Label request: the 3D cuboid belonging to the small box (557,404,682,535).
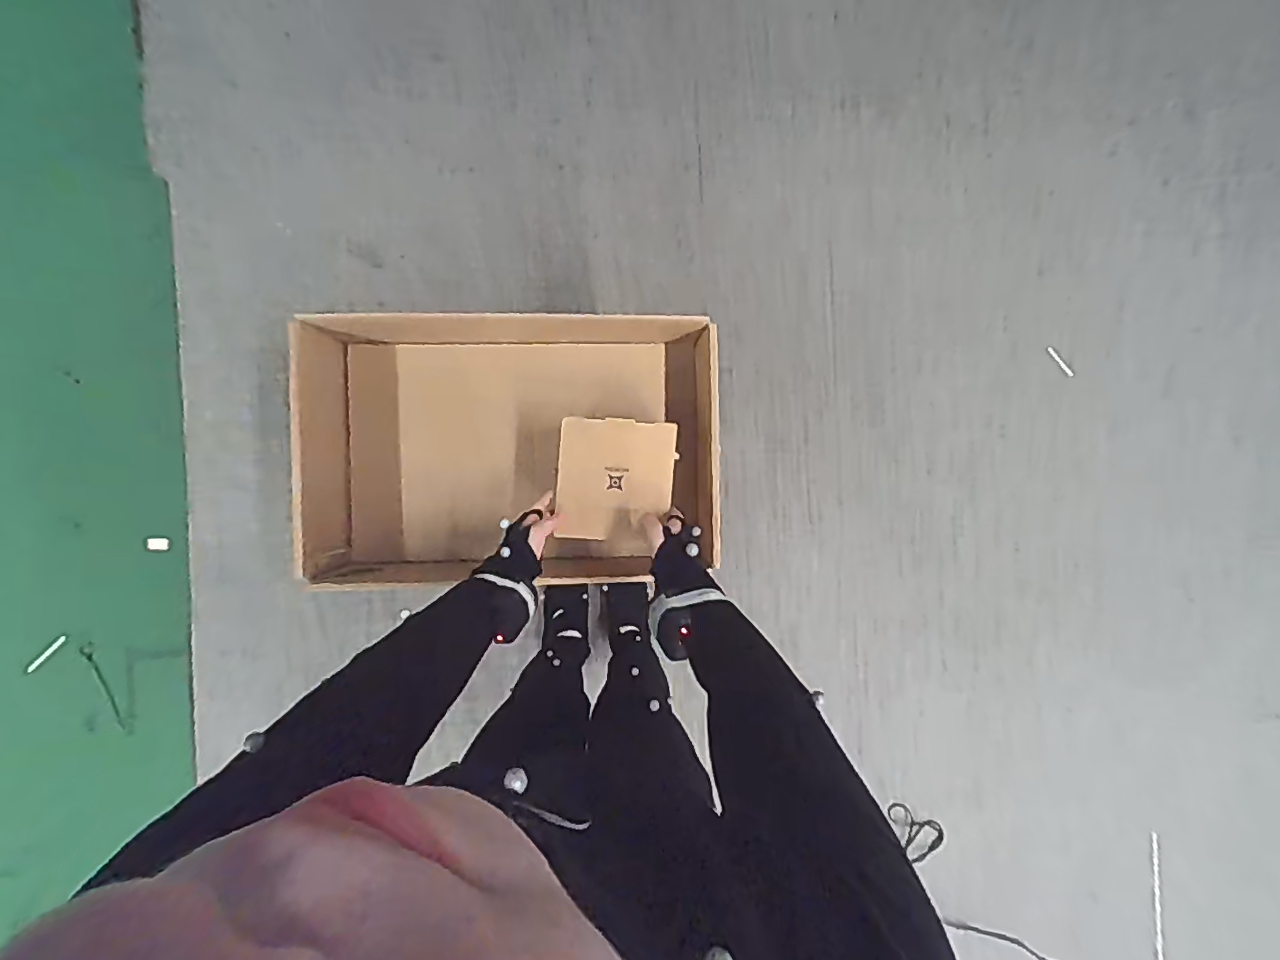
[{"bbox_3d":[-0.032,-0.016,0.845,0.168,0.176,0.179,5,91,-2],"label":"small box"}]
